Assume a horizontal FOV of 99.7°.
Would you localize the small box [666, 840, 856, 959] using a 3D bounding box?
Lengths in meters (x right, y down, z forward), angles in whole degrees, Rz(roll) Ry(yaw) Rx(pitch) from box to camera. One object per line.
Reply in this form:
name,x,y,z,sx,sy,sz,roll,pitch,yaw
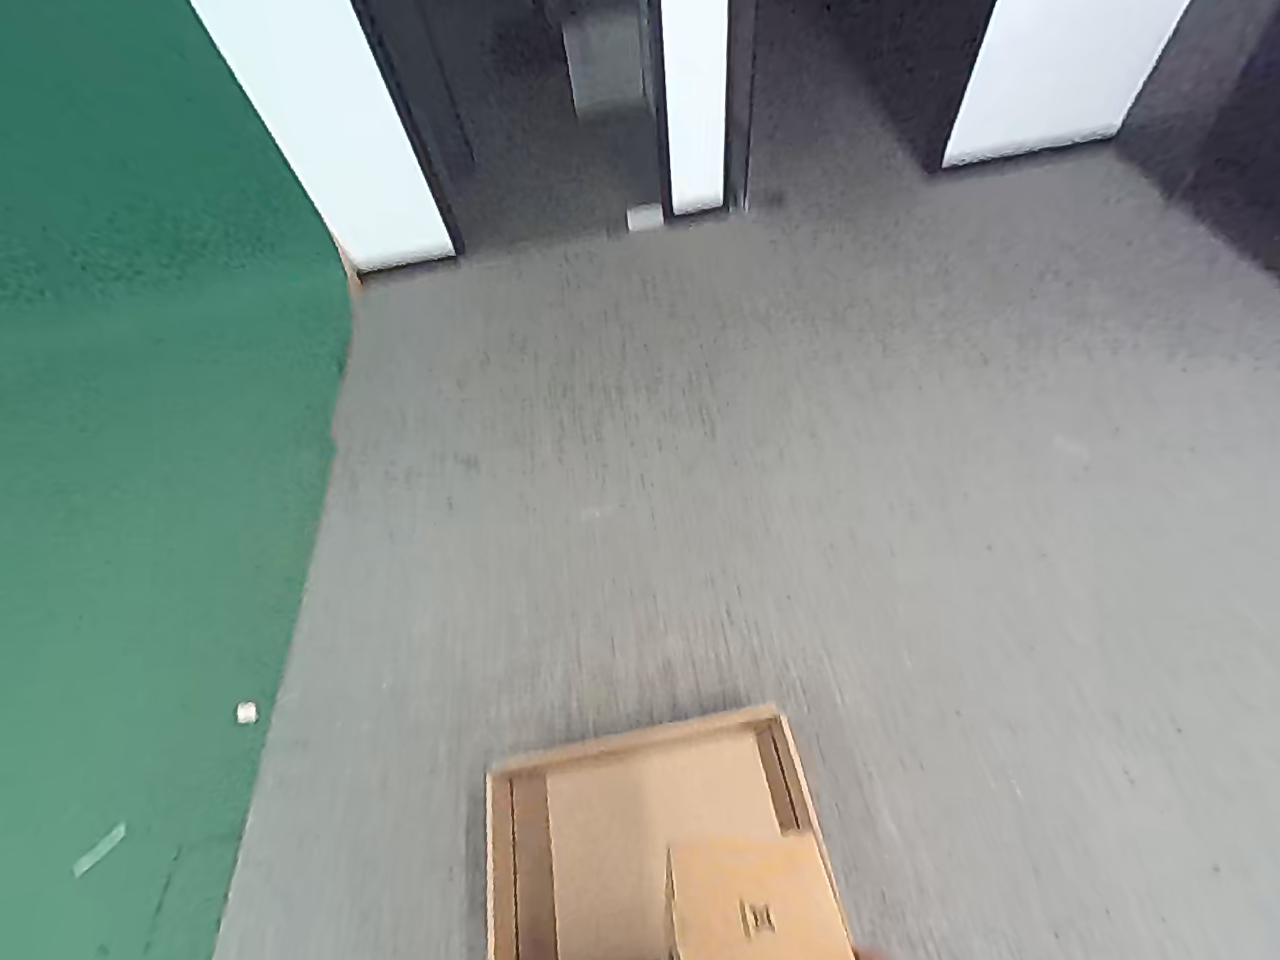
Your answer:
small box,0.123,0.529,0.586,0.179,0.176,0.168,-2,25,-2
